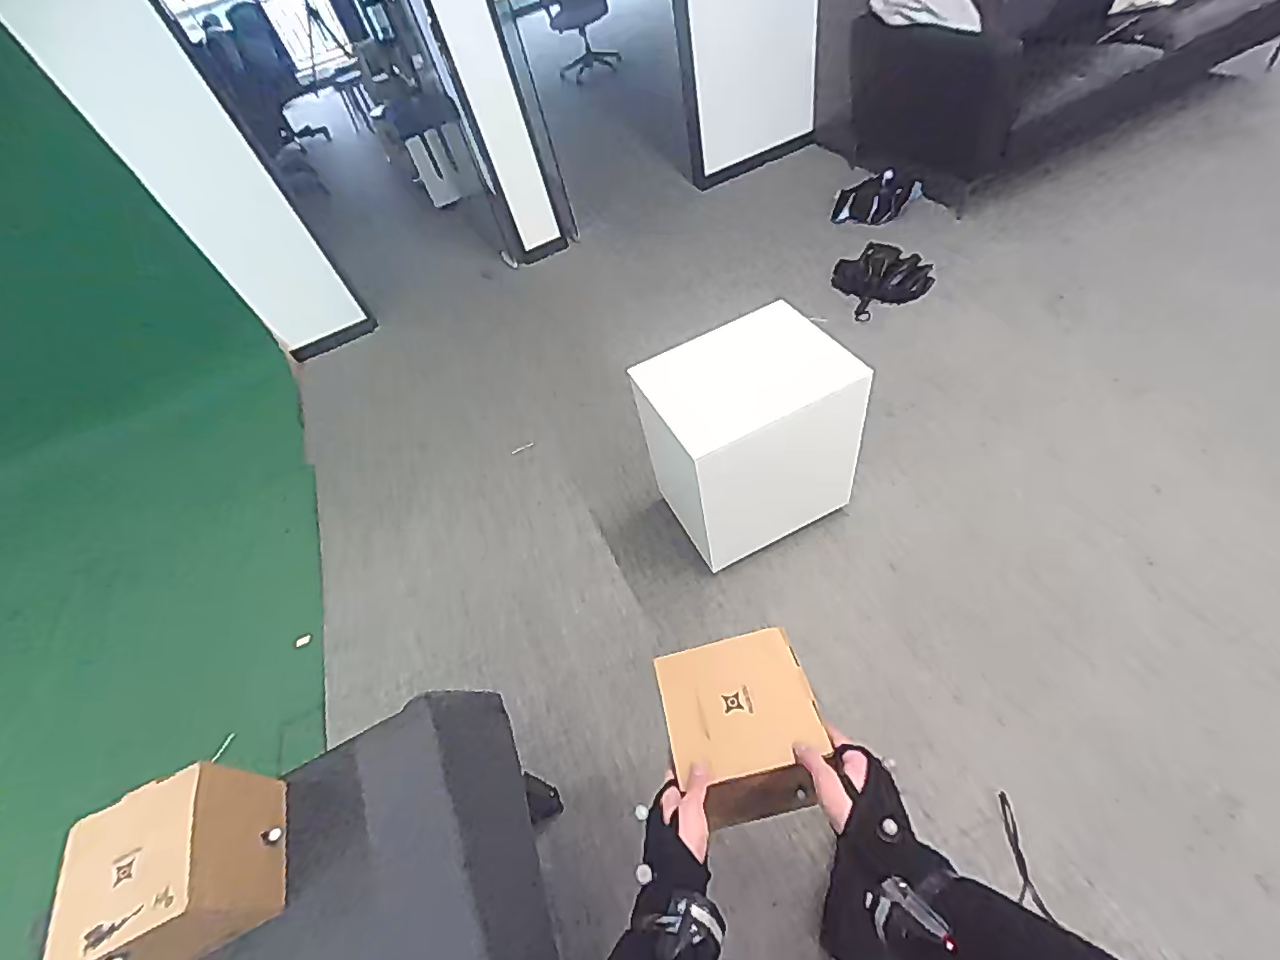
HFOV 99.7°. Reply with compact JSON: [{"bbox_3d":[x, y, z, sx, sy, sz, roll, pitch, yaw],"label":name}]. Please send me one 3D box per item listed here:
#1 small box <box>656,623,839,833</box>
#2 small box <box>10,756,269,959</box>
[{"bbox_3d":[0.132,0.314,0.684,0.179,0.176,0.168,-16,41,1],"label":"small box"},{"bbox_3d":[-0.608,0.493,0.687,0.168,0.176,0.179,-24,50,-8],"label":"small box"}]
